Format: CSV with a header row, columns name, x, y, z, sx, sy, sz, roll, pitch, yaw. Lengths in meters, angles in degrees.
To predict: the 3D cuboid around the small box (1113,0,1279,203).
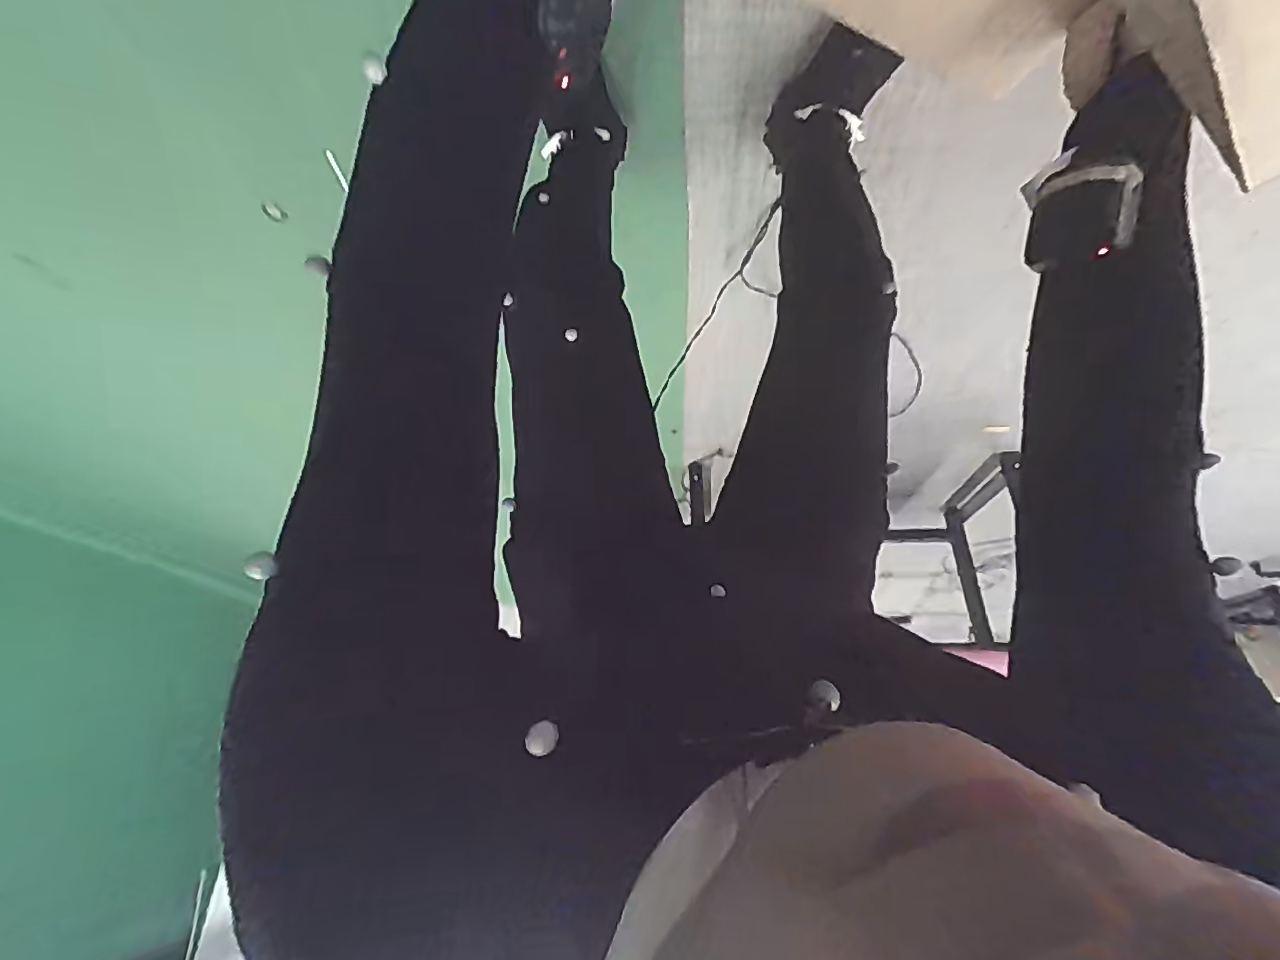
name,x,y,z,sx,sy,sz,roll,pitch,yaw
small box,0.187,-0.212,0.108,0.179,0.176,0.168,17,150,-34
